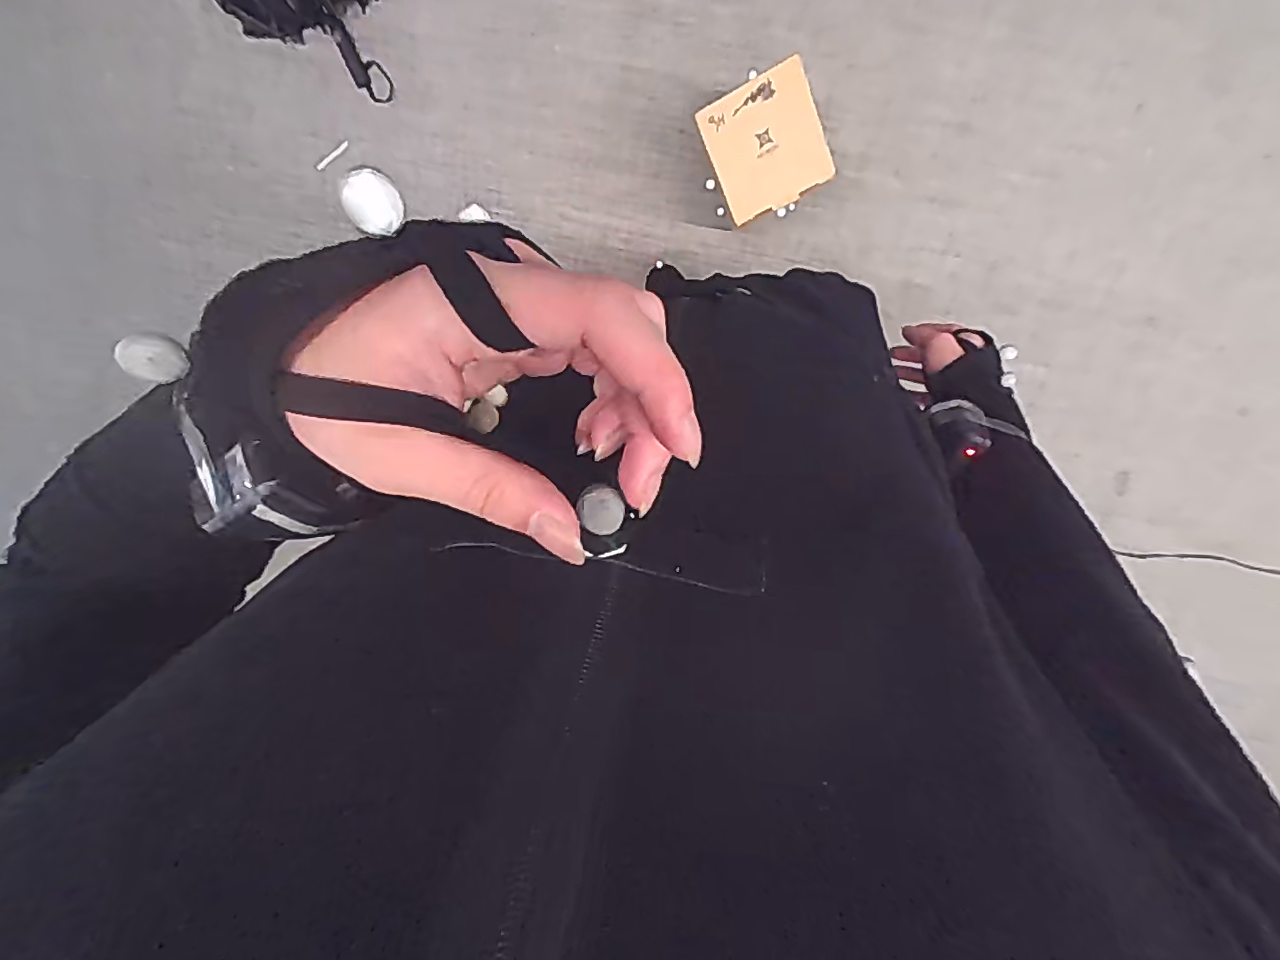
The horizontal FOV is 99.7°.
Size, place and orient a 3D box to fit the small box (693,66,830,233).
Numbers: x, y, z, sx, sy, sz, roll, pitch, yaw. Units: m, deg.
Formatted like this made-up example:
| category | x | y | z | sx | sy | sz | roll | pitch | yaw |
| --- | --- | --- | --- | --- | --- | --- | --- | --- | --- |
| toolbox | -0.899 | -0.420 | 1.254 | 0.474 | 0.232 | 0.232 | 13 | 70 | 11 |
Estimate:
| category | x | y | z | sx | sy | sz | roll | pitch | yaw |
| --- | --- | --- | --- | --- | --- | --- | --- | --- | --- |
| small box | 0.199 | -0.538 | 0.906 | 0.168 | 0.176 | 0.179 | -22 | 109 | 16 |
